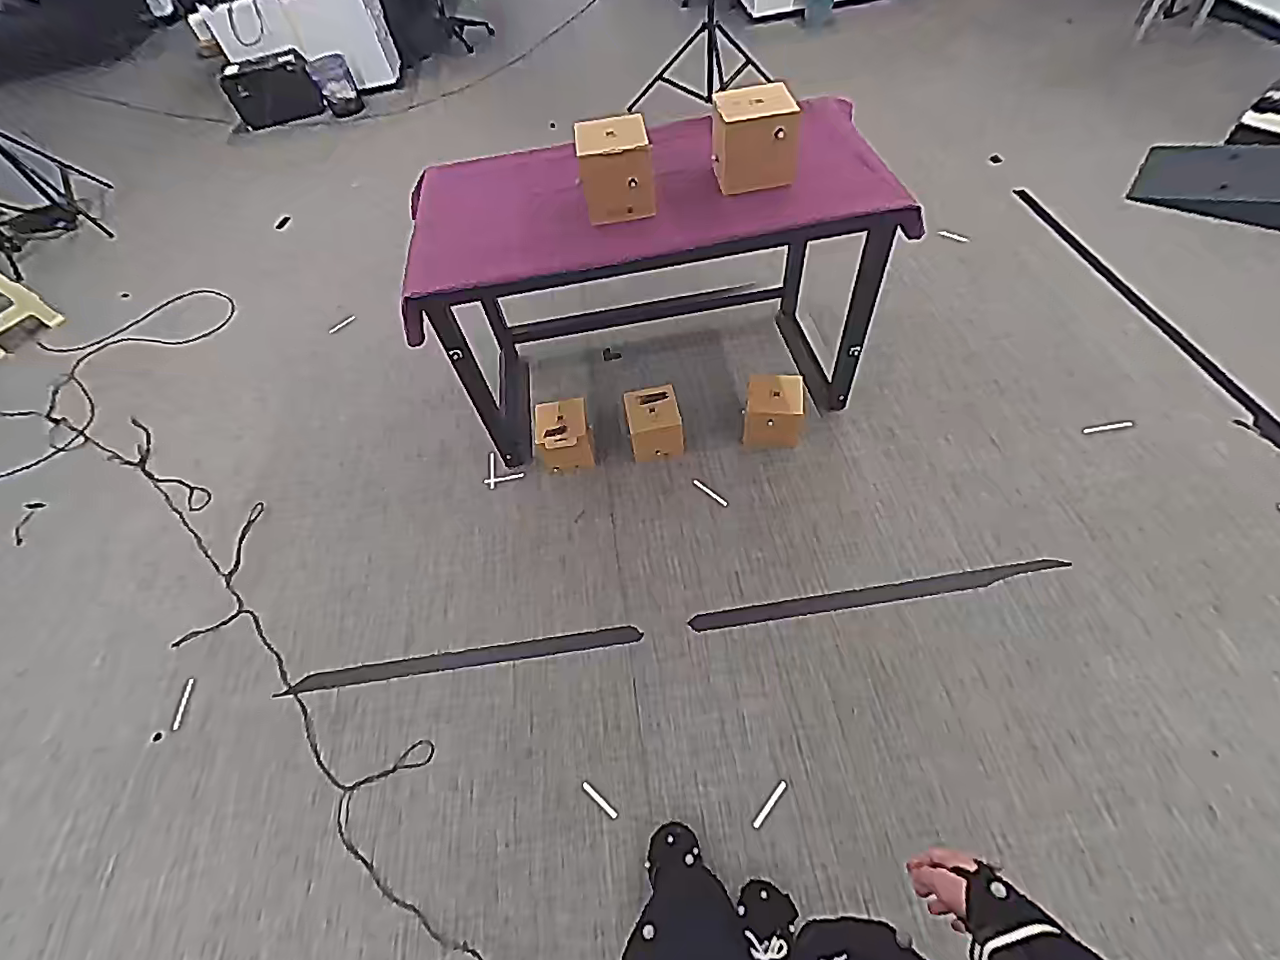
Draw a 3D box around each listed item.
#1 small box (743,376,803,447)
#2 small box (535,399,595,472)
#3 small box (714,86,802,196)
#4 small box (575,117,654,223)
[{"bbox_3d":[0.437,-0.223,1.784,0.179,0.176,0.168,4,57,11],"label":"small box"},{"bbox_3d":[-0.250,-0.143,1.815,0.168,0.176,0.179,-9,54,1],"label":"small box"},{"bbox_3d":[0.279,-0.828,1.328,0.179,0.176,0.168,-9,54,2],"label":"small box"},{"bbox_3d":[-0.059,-0.746,1.316,0.168,0.176,0.179,-8,53,0],"label":"small box"}]
